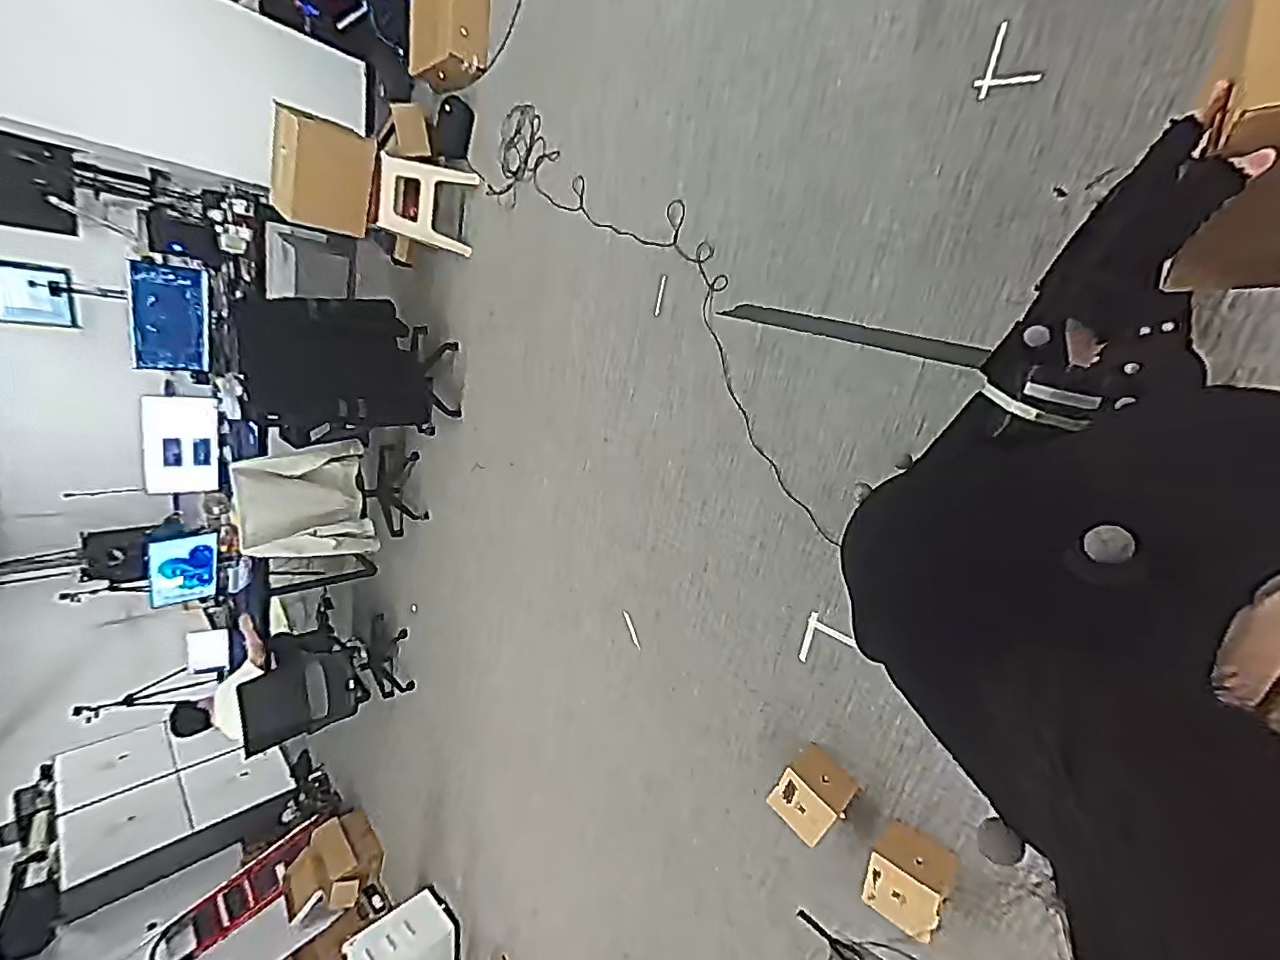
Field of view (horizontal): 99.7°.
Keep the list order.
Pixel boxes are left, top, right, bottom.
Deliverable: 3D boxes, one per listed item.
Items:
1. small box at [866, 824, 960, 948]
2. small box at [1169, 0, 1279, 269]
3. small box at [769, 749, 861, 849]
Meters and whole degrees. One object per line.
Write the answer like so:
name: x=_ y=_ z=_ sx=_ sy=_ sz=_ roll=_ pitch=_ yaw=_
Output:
small box: x=0.742 y=1.085 z=1.464 sx=0.179 sy=0.176 sz=0.168 roll=16 pitch=106 yaw=40
small box: x=0.489 y=-0.259 z=0.357 sx=0.168 sy=0.176 sz=0.179 roll=11 pitch=73 yaw=34
small box: x=0.534 y=0.954 z=1.642 sx=0.179 sy=0.176 sz=0.168 roll=38 pitch=119 yaw=33
